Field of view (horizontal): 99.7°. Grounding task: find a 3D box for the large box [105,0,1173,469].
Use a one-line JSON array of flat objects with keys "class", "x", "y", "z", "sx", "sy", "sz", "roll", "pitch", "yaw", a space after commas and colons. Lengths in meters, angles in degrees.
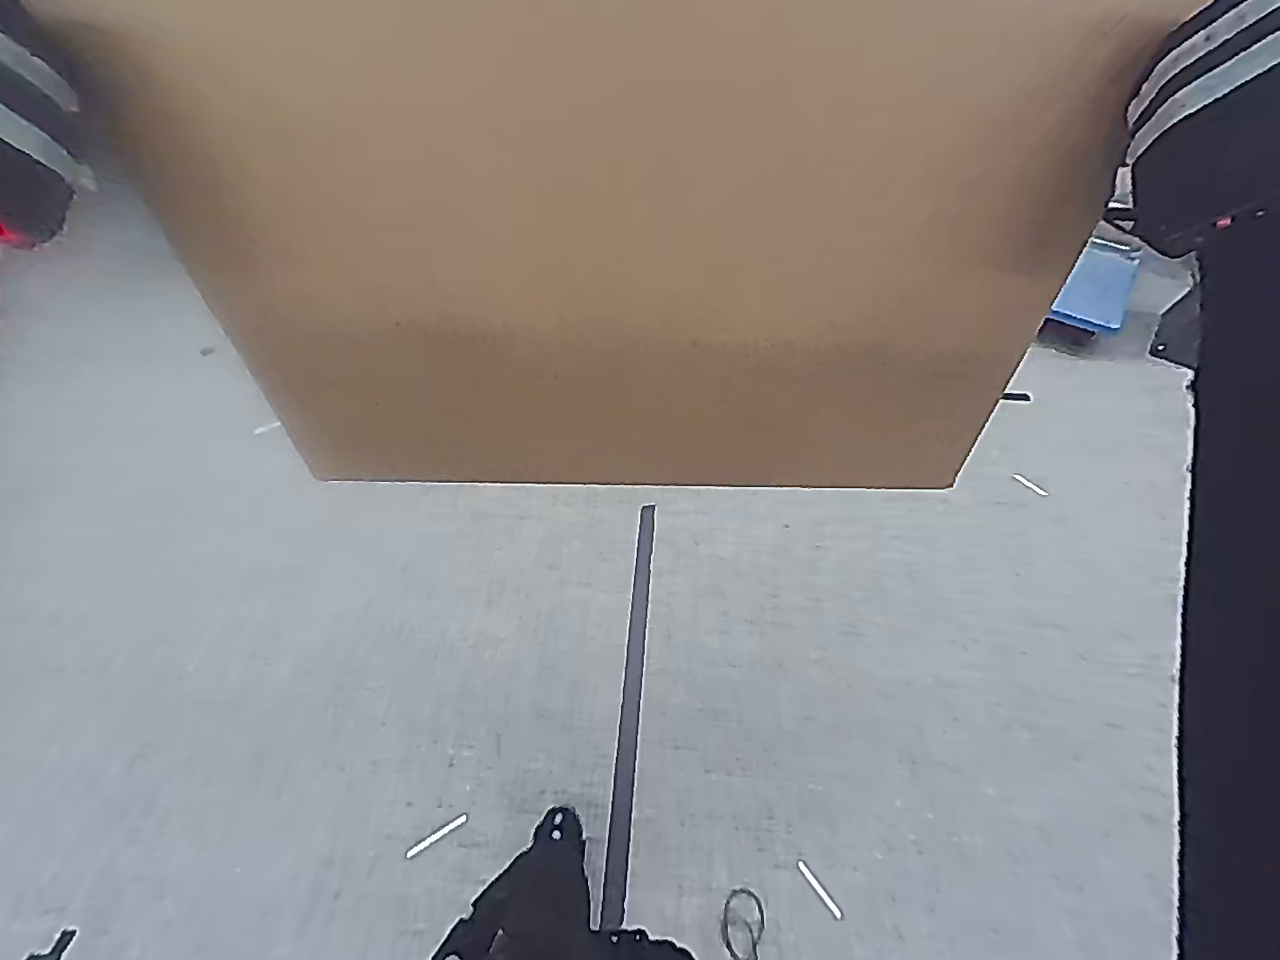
[{"class": "large box", "x": -0.002, "y": -0.218, "z": 0.360, "sx": 0.408, "sy": 0.320, "sz": 0.320, "roll": 1, "pitch": 45, "yaw": 1}]
